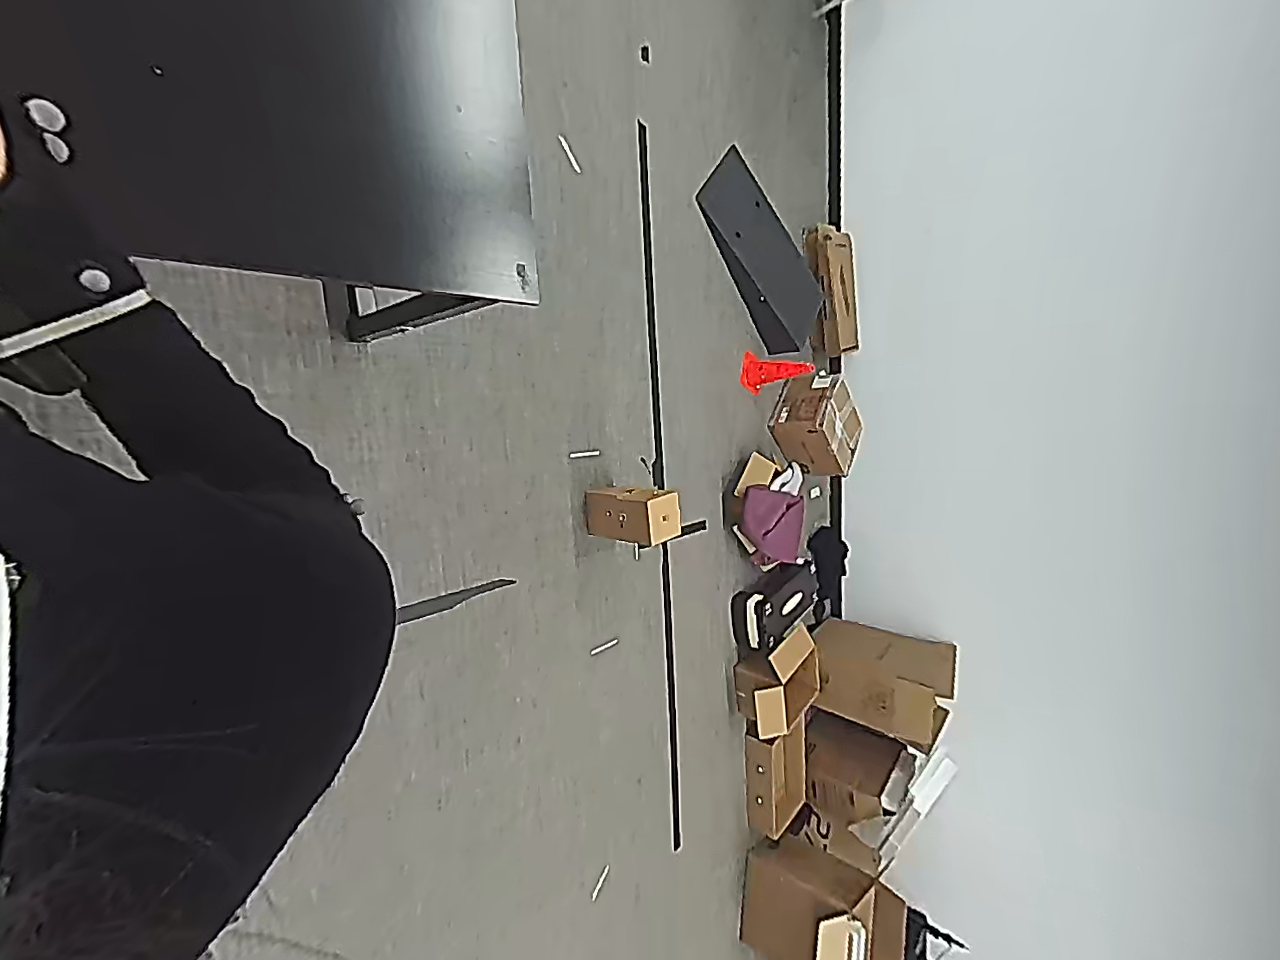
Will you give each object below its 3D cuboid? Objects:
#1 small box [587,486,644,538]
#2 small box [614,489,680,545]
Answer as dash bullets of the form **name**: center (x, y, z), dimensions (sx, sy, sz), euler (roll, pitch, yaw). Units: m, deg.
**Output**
- **small box**: center (-0.093, 0.119, 2.103), dimensions (0.168, 0.176, 0.179), euler (-13, 103, -47)
- **small box**: center (0.026, 0.131, 1.993), dimensions (0.179, 0.176, 0.168), euler (-16, 103, -45)
